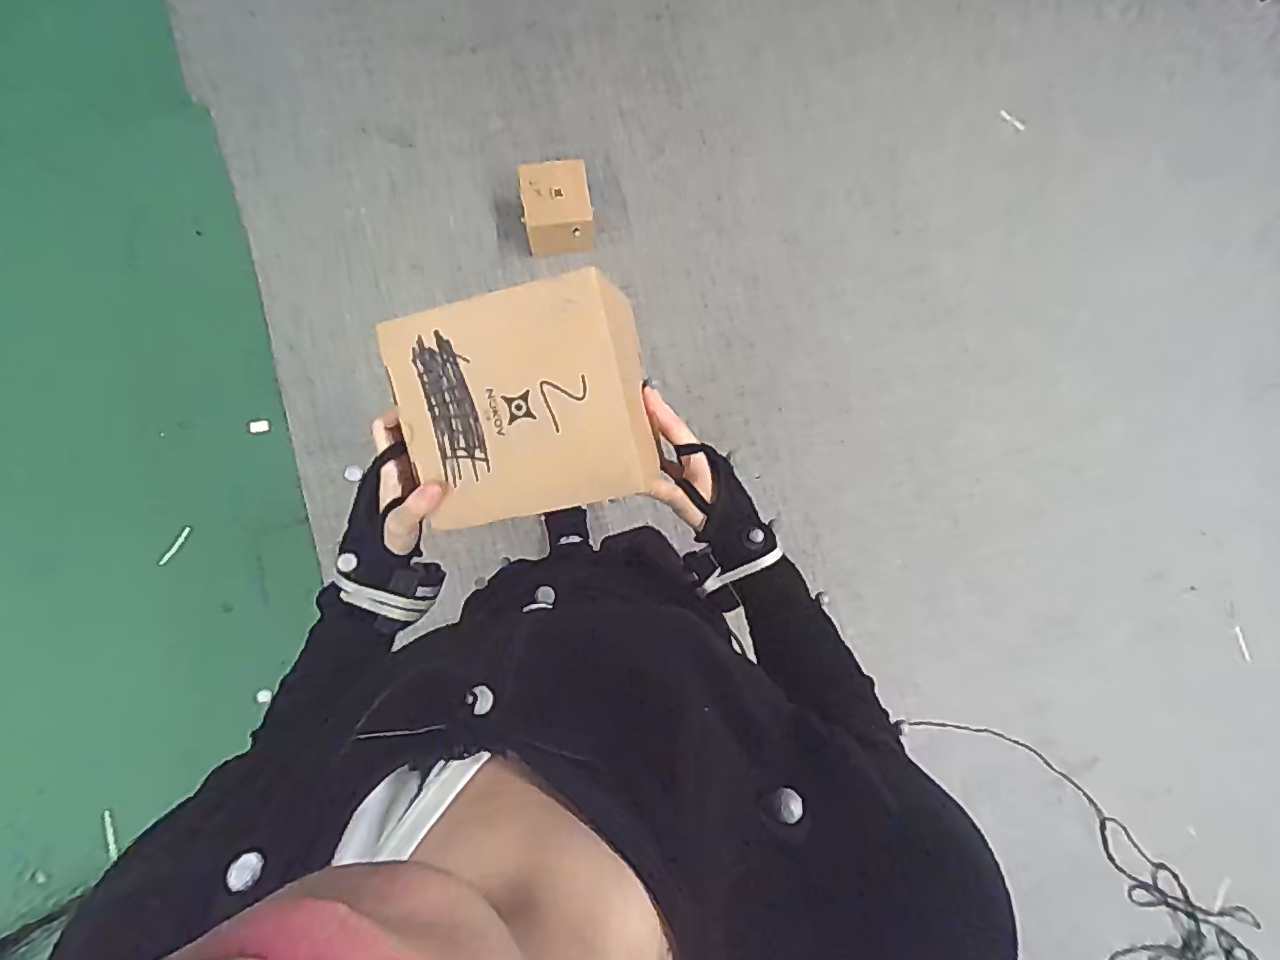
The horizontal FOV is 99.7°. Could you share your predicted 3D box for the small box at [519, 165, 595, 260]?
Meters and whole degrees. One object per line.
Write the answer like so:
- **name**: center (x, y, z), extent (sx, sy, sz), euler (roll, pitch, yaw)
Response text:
- **small box**: center (-0.219, -0.718, 1.464), extent (0.179, 0.176, 0.168), euler (-9, 88, -5)
